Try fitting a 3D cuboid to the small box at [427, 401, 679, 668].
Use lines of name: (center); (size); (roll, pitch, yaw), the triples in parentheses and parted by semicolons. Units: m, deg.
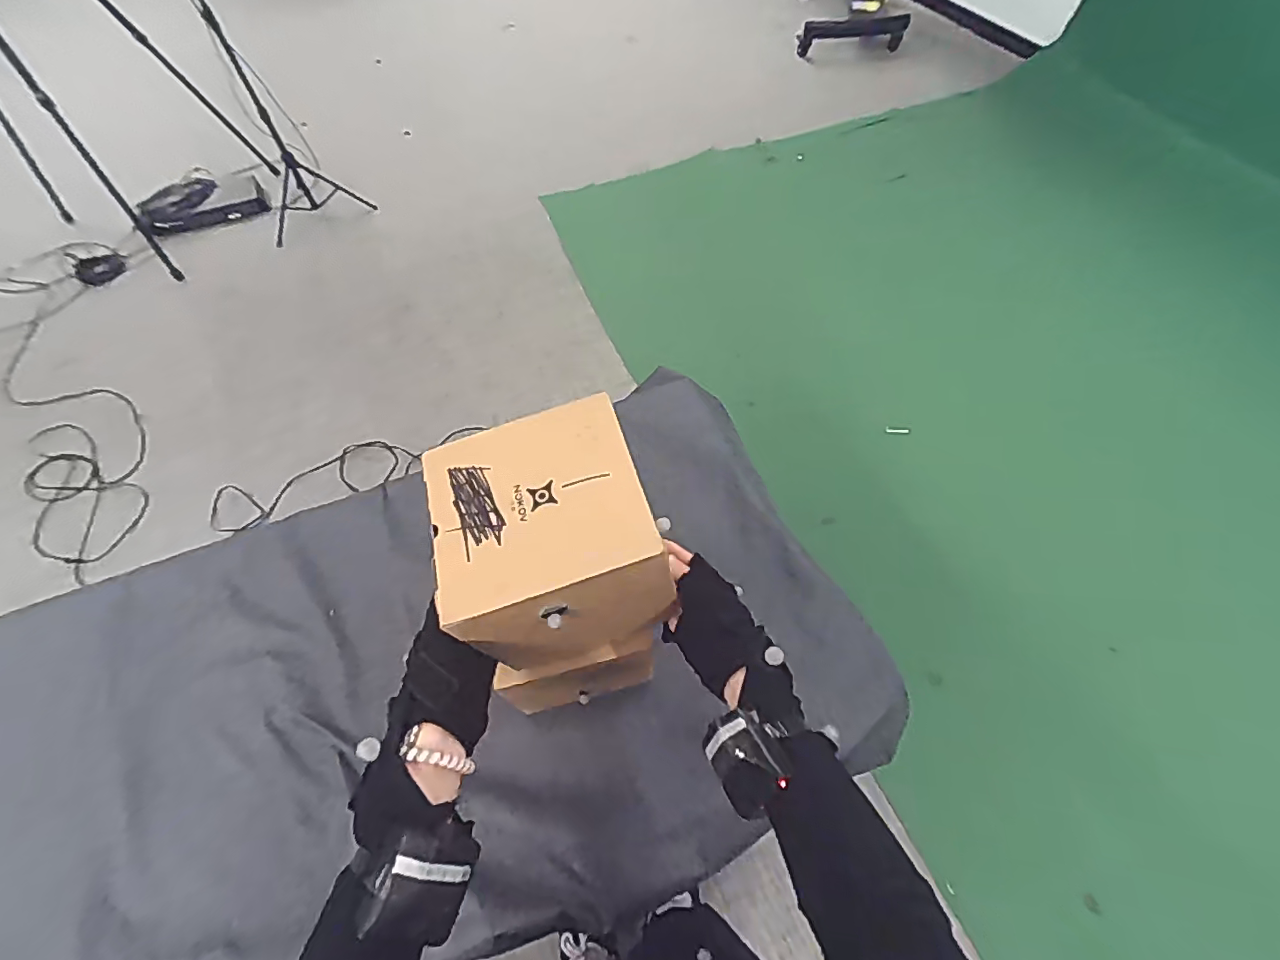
small box: (-0.074, 0.061, 0.510); (0.179, 0.176, 0.168); (-19, 59, -2)
